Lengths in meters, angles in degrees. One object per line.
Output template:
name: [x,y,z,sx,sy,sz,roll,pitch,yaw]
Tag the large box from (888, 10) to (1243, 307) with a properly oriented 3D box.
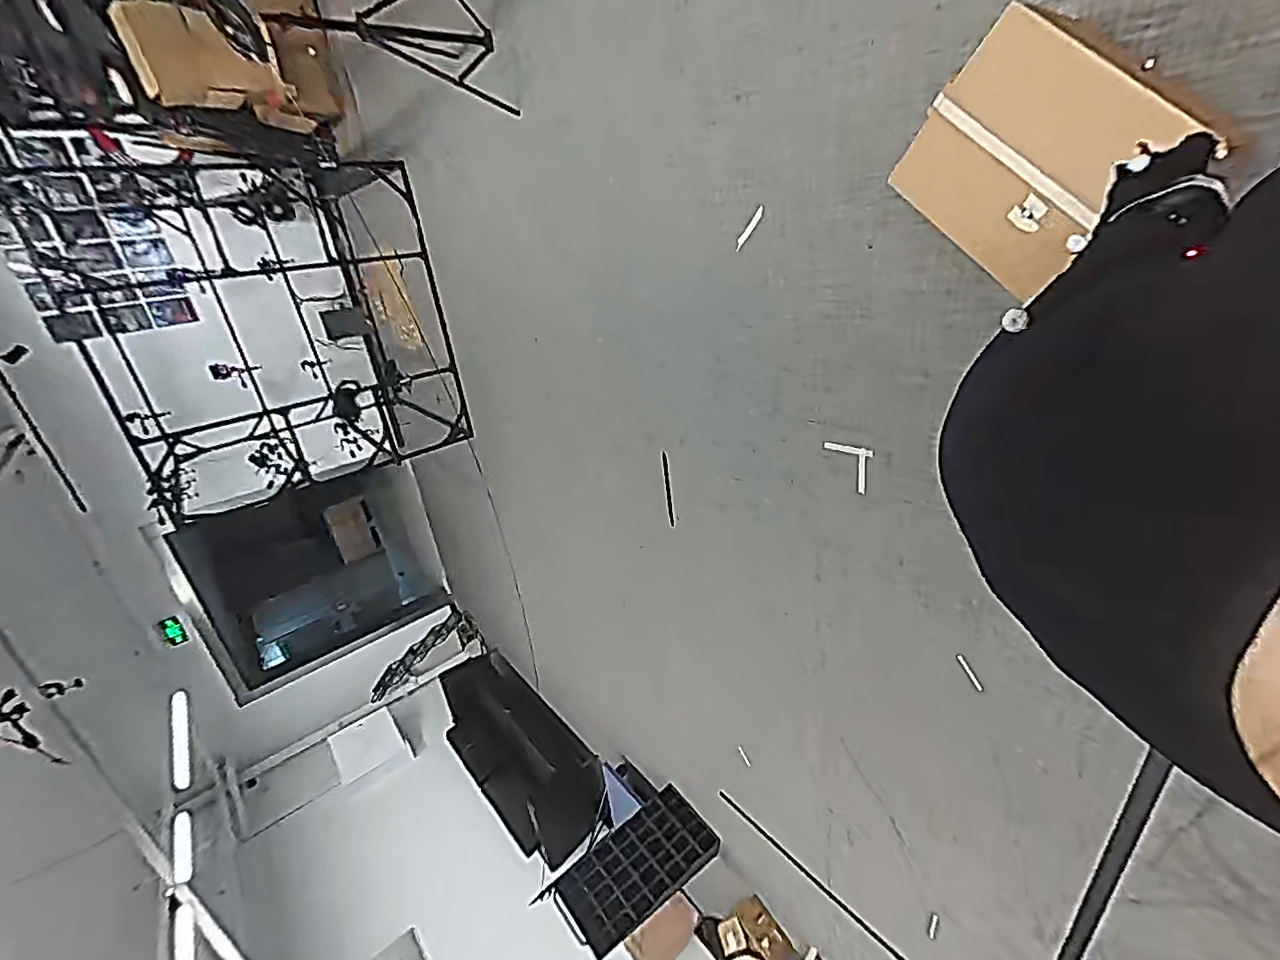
large box: [0.788,-0.605,1.038,0.408,0.320,0.320,54,146,17]
